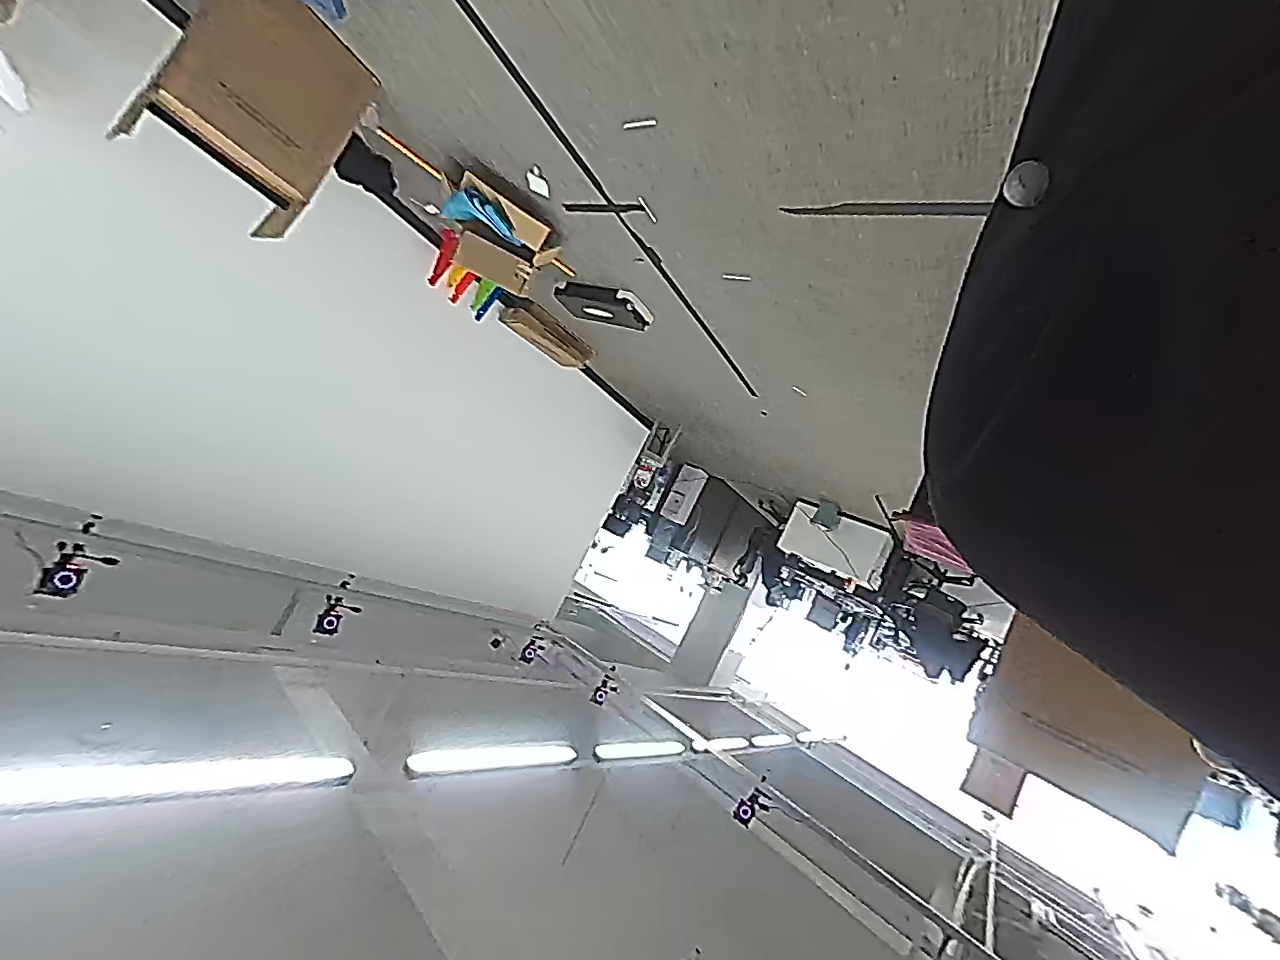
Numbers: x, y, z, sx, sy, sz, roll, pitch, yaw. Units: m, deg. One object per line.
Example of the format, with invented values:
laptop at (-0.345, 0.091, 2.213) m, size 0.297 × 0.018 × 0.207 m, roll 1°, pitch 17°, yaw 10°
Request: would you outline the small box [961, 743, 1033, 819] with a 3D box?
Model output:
small box at (1.250, 1.045, 1.894) m, size 0.168 × 0.176 × 0.179 m, roll 21°, pitch 172°, yaw 38°
